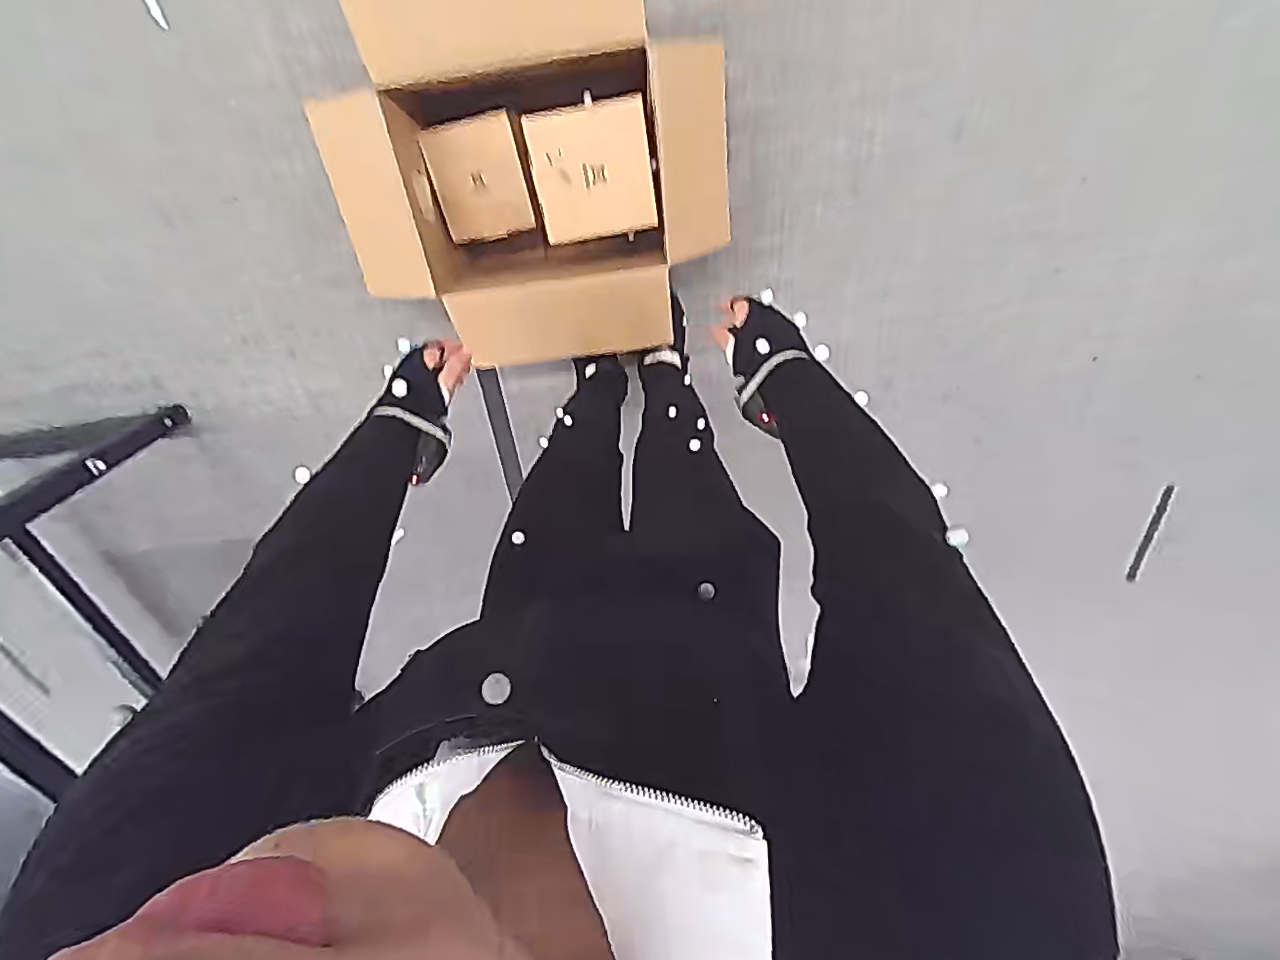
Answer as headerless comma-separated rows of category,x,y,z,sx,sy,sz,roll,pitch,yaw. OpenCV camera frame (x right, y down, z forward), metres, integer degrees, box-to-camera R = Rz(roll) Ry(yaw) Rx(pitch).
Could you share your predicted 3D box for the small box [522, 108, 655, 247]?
small box,-0.078,-0.492,0.880,0.179,0.176,0.168,-9,121,3
